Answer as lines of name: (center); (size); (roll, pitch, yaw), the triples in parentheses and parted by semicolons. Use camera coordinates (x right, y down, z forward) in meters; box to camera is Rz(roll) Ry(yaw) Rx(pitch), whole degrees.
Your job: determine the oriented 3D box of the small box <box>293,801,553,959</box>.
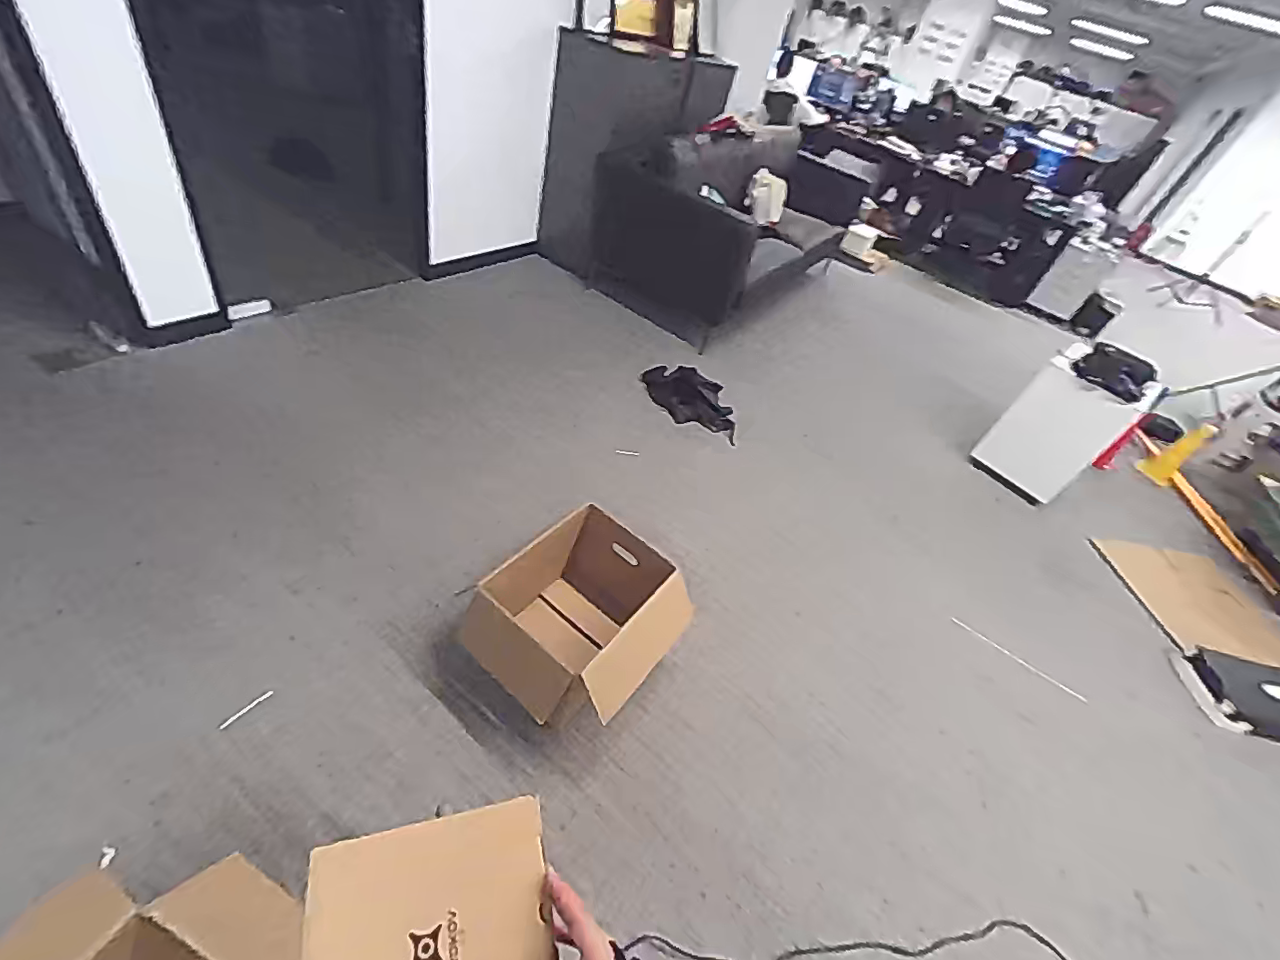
small box: (-0.165, 0.390, 0.440); (0.179, 0.176, 0.168); (-4, 49, -17)
